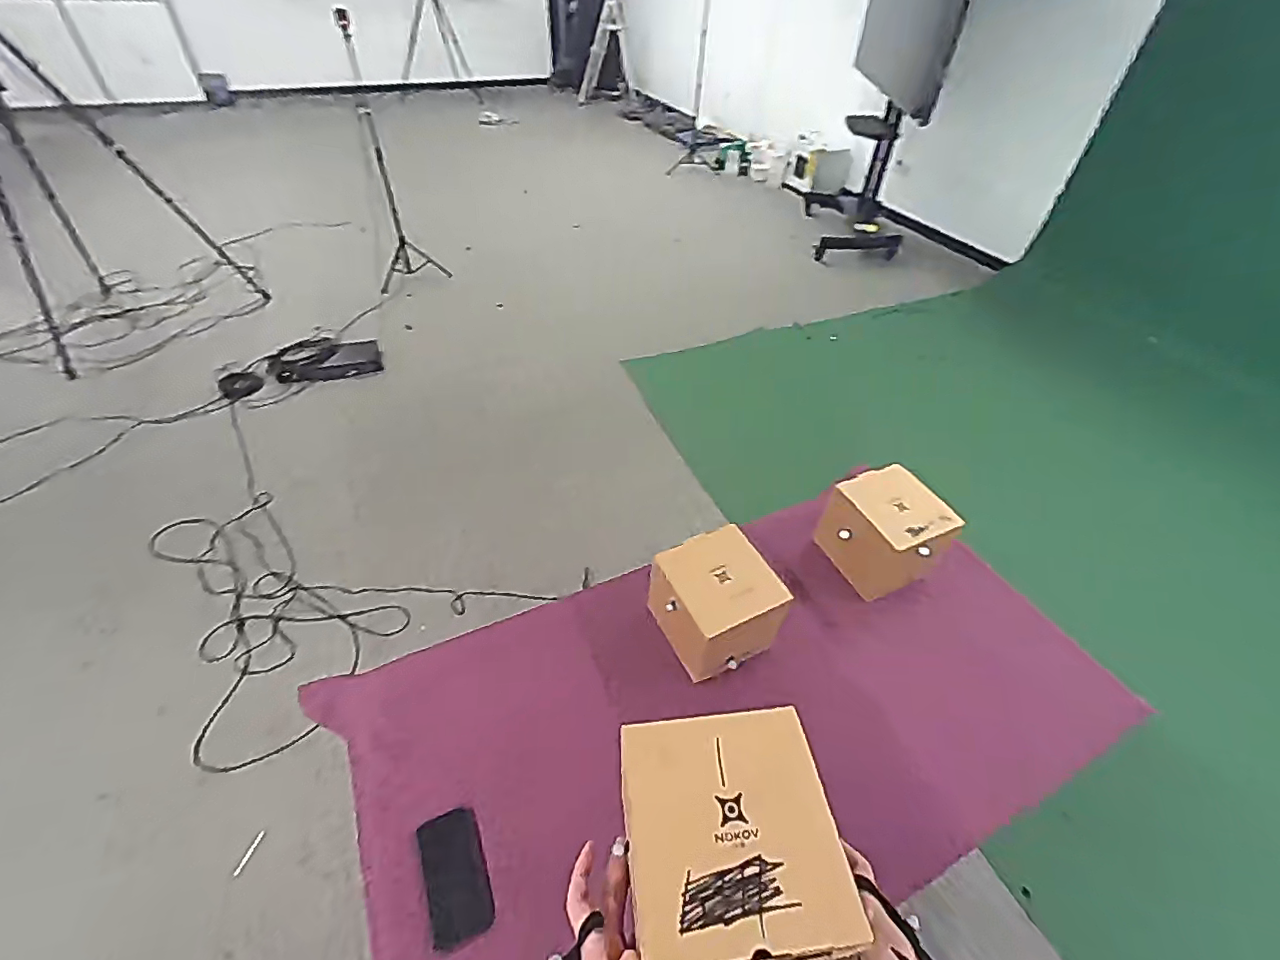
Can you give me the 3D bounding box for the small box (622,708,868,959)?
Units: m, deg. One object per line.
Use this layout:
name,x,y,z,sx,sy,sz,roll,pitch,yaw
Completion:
small box,0.074,0.334,0.486,0.168,0.176,0.179,-4,43,-4

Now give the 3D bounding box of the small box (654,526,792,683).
small box,0.131,0.216,0.941,0.168,0.176,0.179,-19,49,-19

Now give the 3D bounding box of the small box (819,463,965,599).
small box,0.481,0.100,1.065,0.168,0.176,0.179,-18,48,-18
